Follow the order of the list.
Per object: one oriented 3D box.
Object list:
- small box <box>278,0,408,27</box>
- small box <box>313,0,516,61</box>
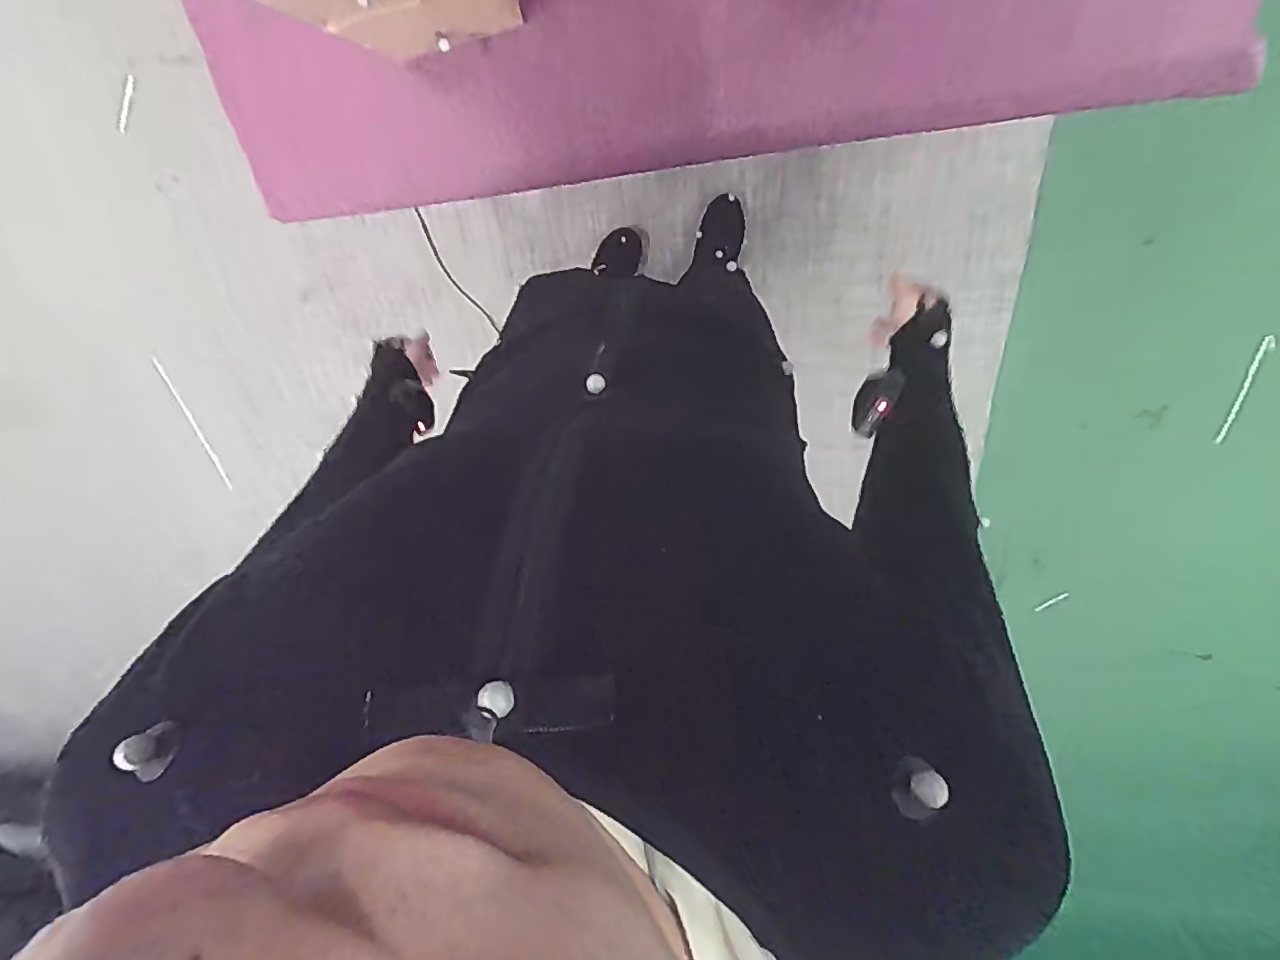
[{"bbox_3d":[-0.254,-0.485,0.401,0.168,0.176,0.179,-11,119,10],"label":"small box"},{"bbox_3d":[-0.244,-0.562,0.545,0.168,0.176,0.179,-8,119,10],"label":"small box"}]
